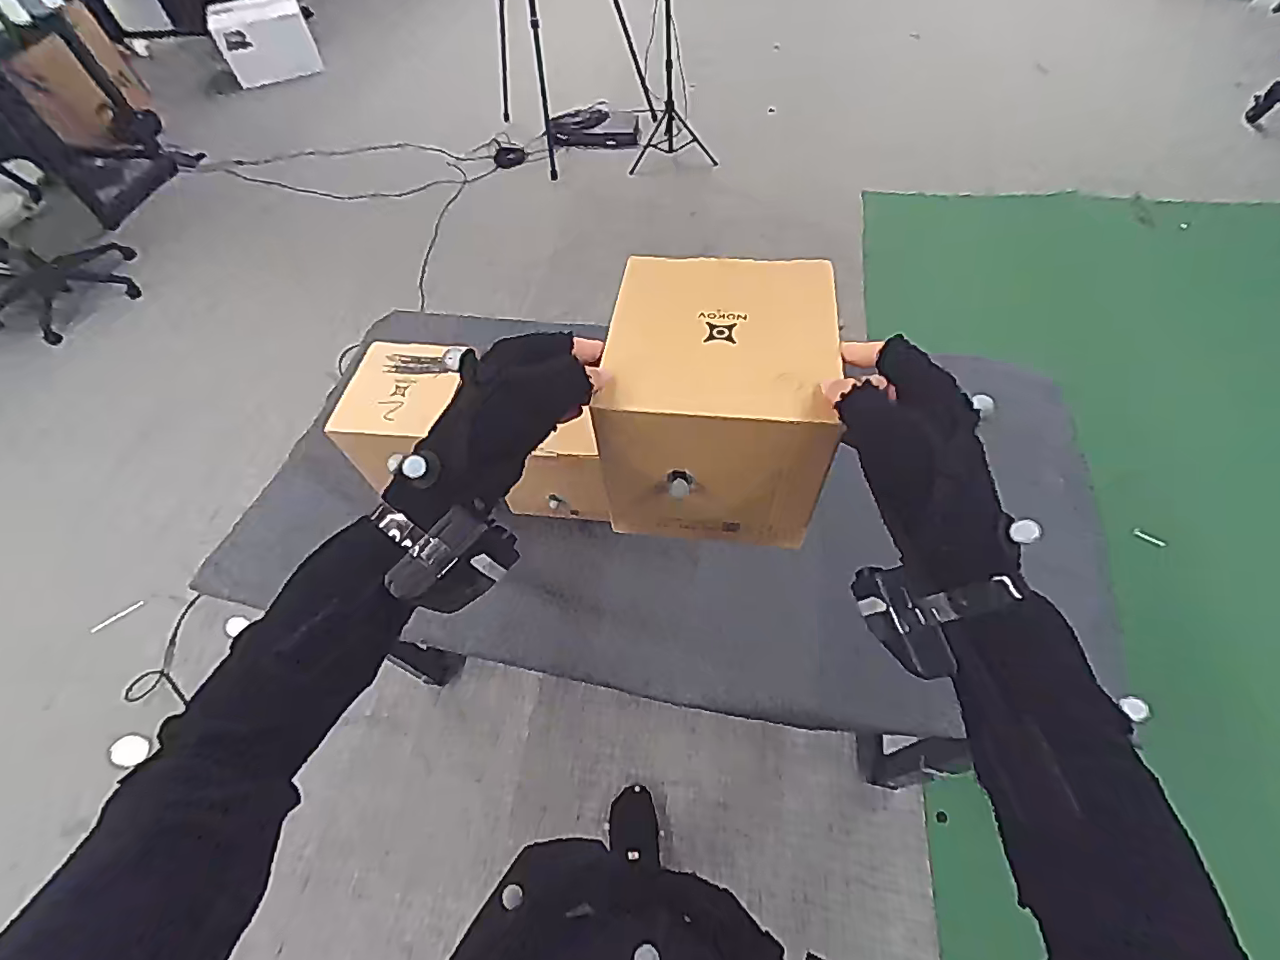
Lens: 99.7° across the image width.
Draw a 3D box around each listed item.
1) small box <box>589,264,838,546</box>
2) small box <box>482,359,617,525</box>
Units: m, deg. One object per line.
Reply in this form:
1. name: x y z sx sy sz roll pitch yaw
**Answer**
1. small box: 0.063 -0.060 0.460 0.168 0.176 0.179 4 54 8
2. small box: -0.110 -0.055 0.803 0.168 0.176 0.179 4 57 7
